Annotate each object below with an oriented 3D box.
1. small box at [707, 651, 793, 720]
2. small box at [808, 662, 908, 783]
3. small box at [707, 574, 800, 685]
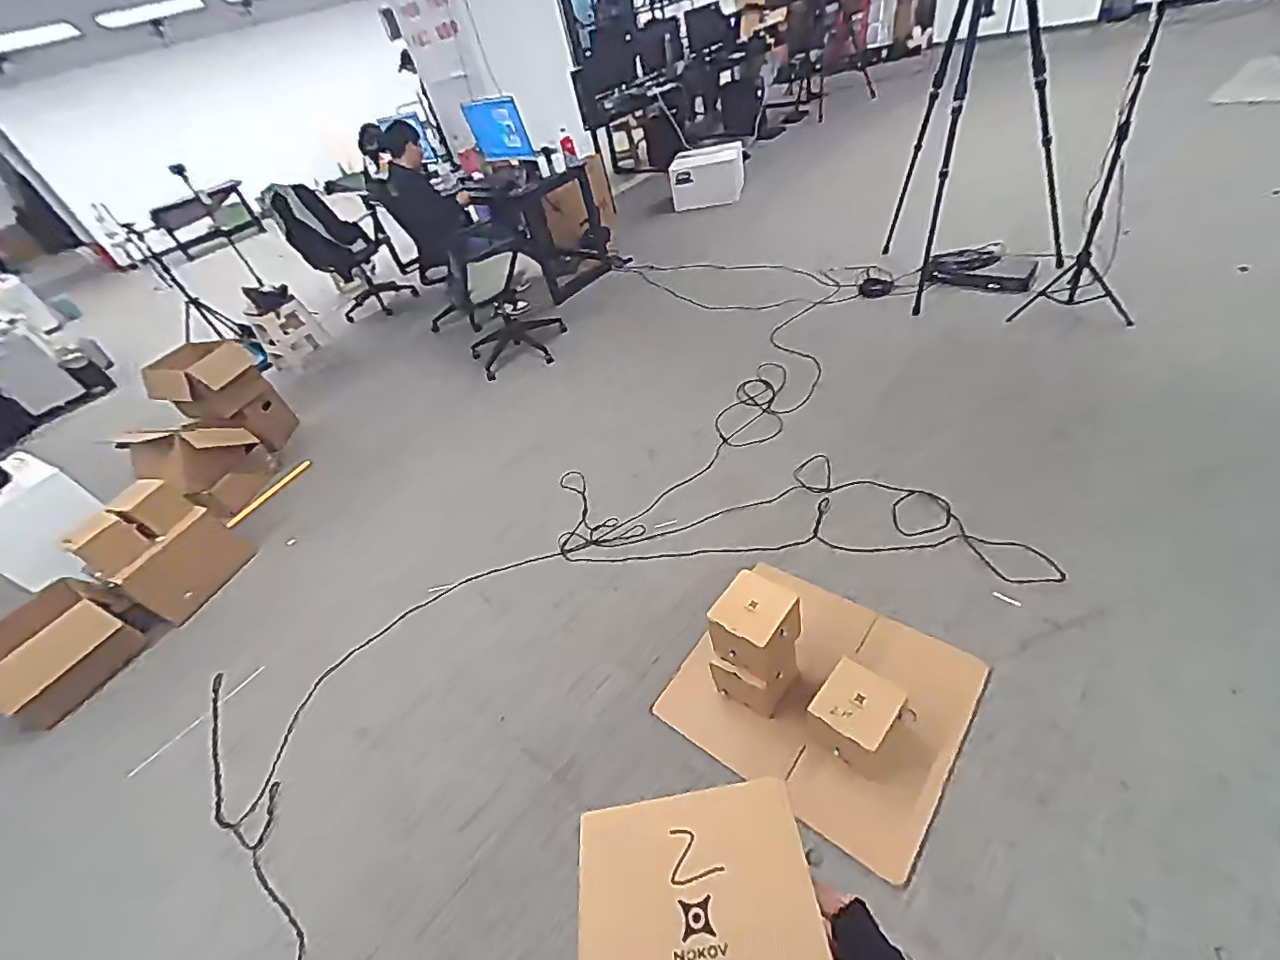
[{"bbox_3d":[0.308,0.516,1.474,0.168,0.176,0.179,19,52,35],"label":"small box"},{"bbox_3d":[0.527,0.590,1.318,0.168,0.176,0.179,25,57,40],"label":"small box"},{"bbox_3d":[0.292,0.381,1.379,0.168,0.176,0.179,22,54,36],"label":"small box"}]
